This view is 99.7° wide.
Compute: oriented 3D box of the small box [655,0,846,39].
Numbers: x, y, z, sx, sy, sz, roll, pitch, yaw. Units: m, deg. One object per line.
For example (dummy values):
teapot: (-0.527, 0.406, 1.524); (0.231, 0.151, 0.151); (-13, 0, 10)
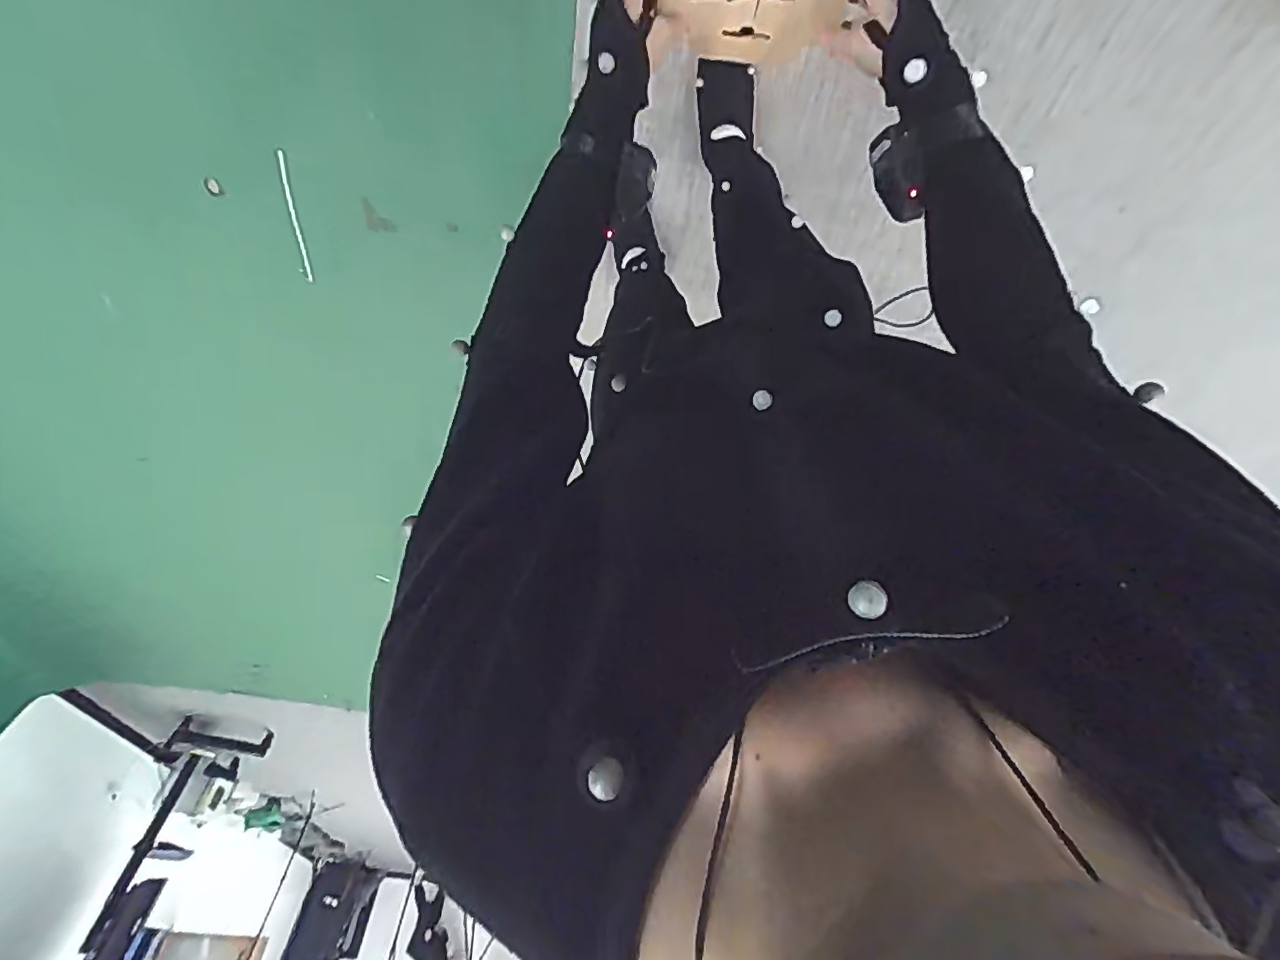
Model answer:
small box: (0.103, -0.515, 0.473); (0.168, 0.176, 0.179); (3, 135, -2)

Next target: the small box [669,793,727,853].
small box: (0.201, 1.243, 1.933); (0.168, 0.176, 0.179); (11, 133, -6)

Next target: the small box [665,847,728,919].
small box: (0.186, 1.352, 1.815); (0.179, 0.176, 0.168); (10, 134, -4)
